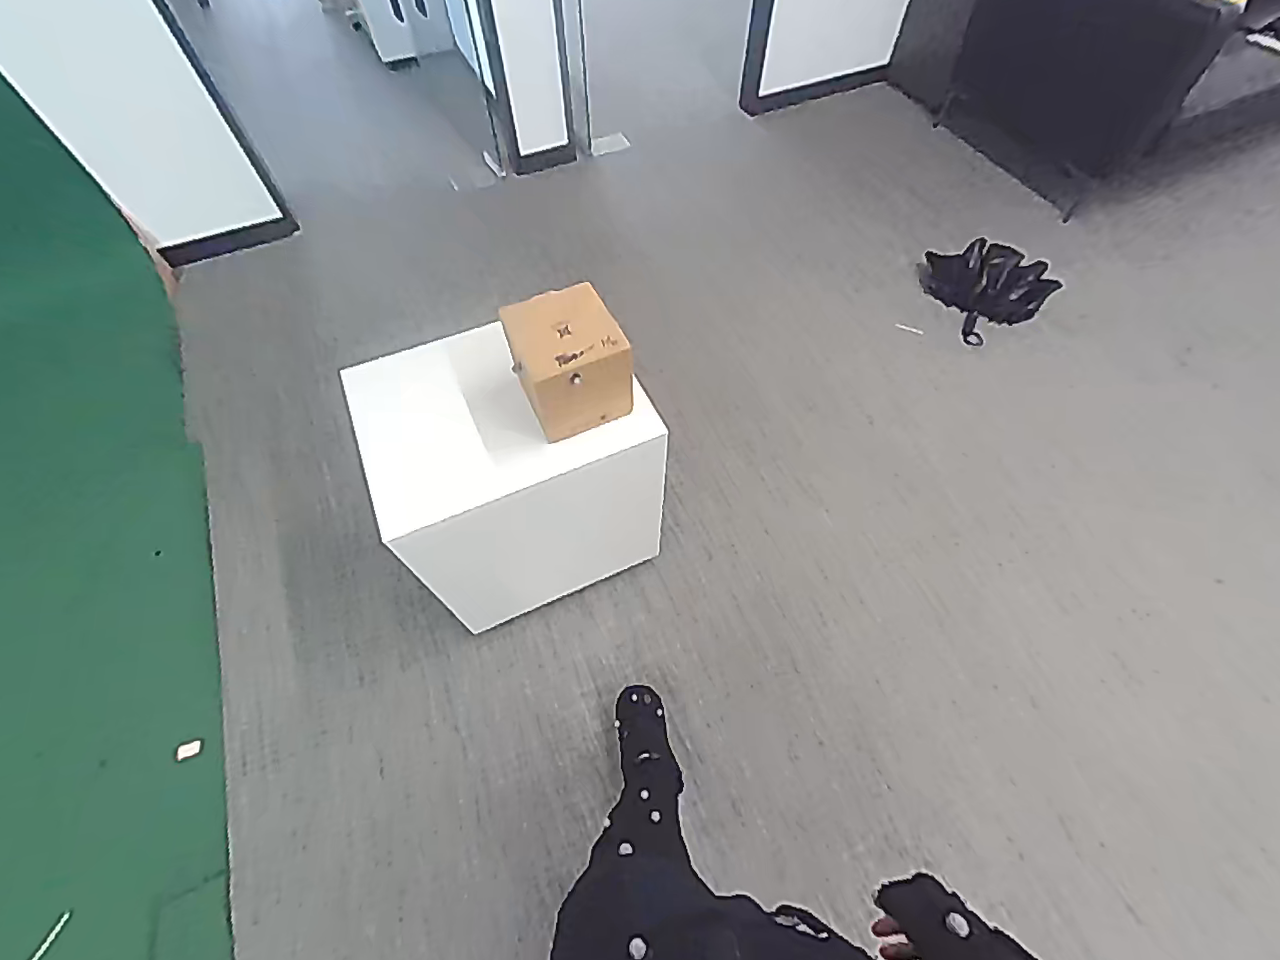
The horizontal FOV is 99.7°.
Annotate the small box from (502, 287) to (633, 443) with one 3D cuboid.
[{"bbox_3d":[-0.121,-0.196,0.940,0.168,0.176,0.179,-23,61,-12],"label":"small box"}]
